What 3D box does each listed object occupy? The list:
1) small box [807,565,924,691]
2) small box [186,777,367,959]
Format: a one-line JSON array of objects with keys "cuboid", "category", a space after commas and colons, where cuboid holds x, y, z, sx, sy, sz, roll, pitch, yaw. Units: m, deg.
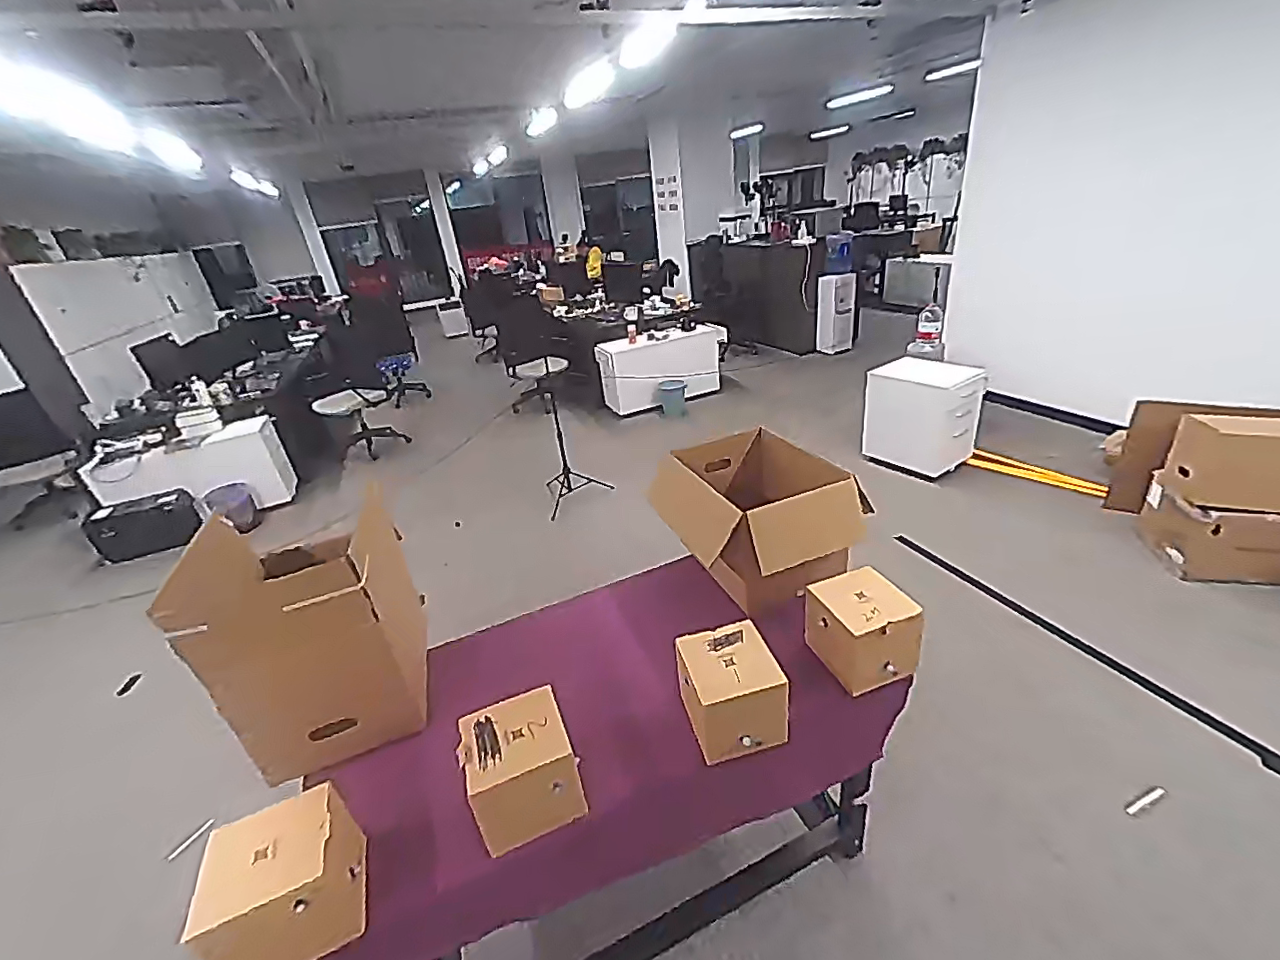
[{"cuboid": [0.477, 0.317, 1.170, 0.168, 0.176, 0.179, -15, 27, -12], "category": "small box"}, {"cuboid": [-0.551, 0.623, 0.848, 0.179, 0.176, 0.168, -17, 28, -19], "category": "small box"}]
